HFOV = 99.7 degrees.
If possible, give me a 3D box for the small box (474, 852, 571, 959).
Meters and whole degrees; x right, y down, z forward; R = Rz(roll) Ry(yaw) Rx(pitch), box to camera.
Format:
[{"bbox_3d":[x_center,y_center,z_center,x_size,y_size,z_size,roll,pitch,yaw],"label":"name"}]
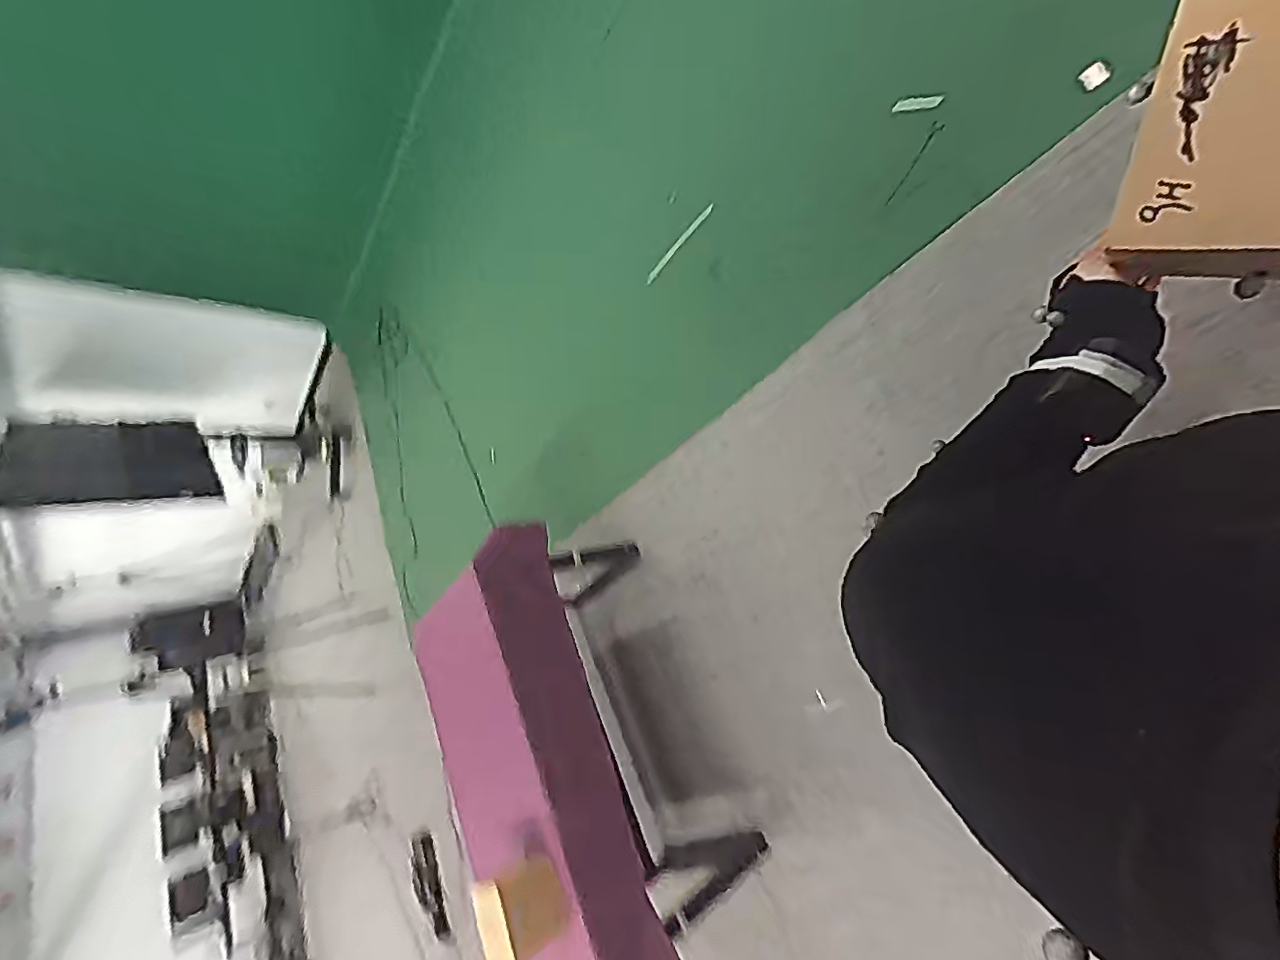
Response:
[{"bbox_3d":[-0.305,1.109,1.410,0.168,0.176,0.179,-38,65,39],"label":"small box"}]
